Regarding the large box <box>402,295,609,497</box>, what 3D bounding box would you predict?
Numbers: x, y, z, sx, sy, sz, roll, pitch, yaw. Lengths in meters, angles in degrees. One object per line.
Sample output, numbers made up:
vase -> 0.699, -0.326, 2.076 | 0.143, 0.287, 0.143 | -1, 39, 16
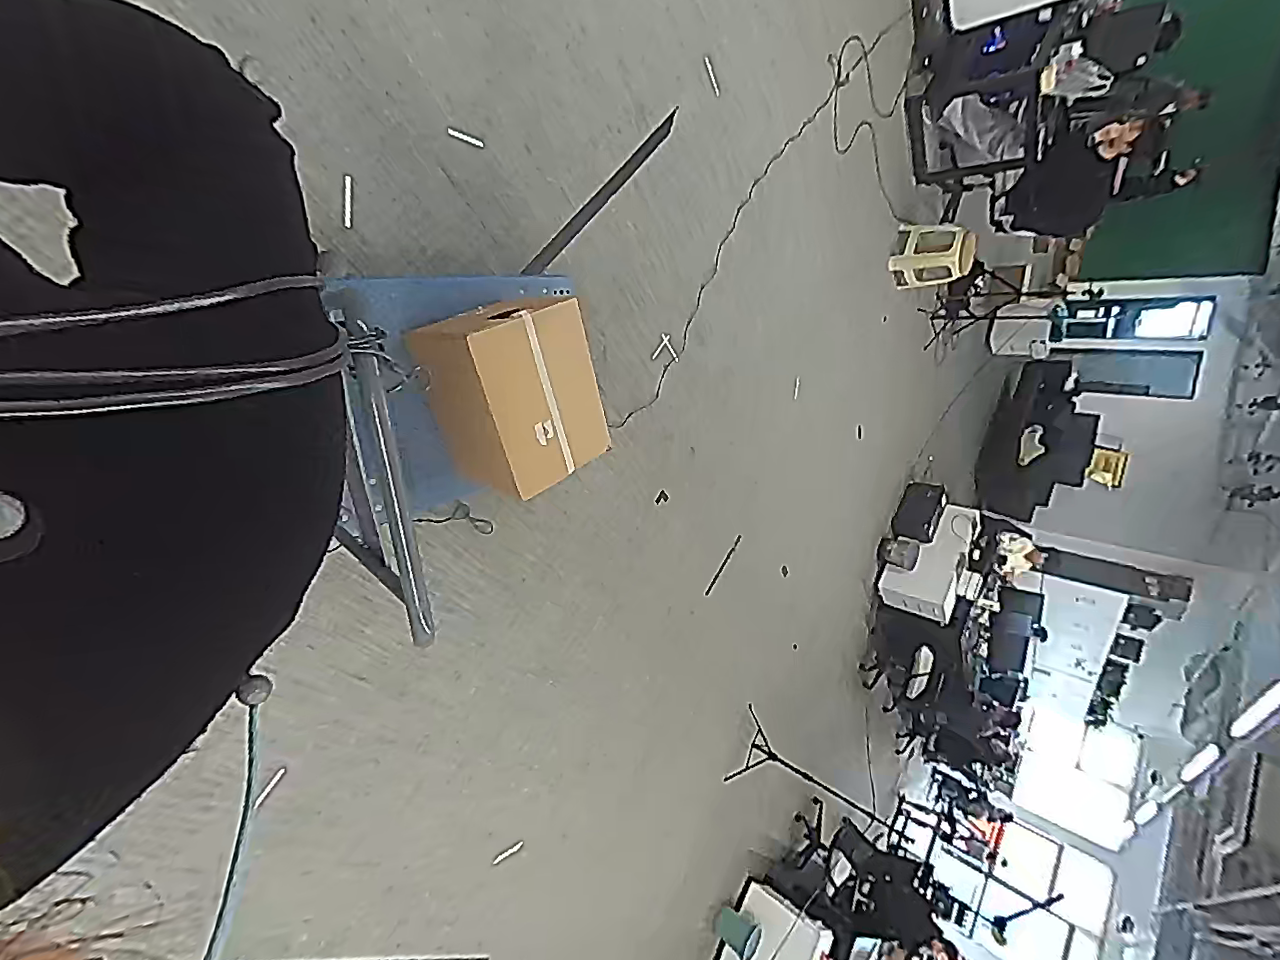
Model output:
large box -> -0.330, -0.227, 1.374 | 0.320, 0.320, 0.408 | -35, 126, -36
